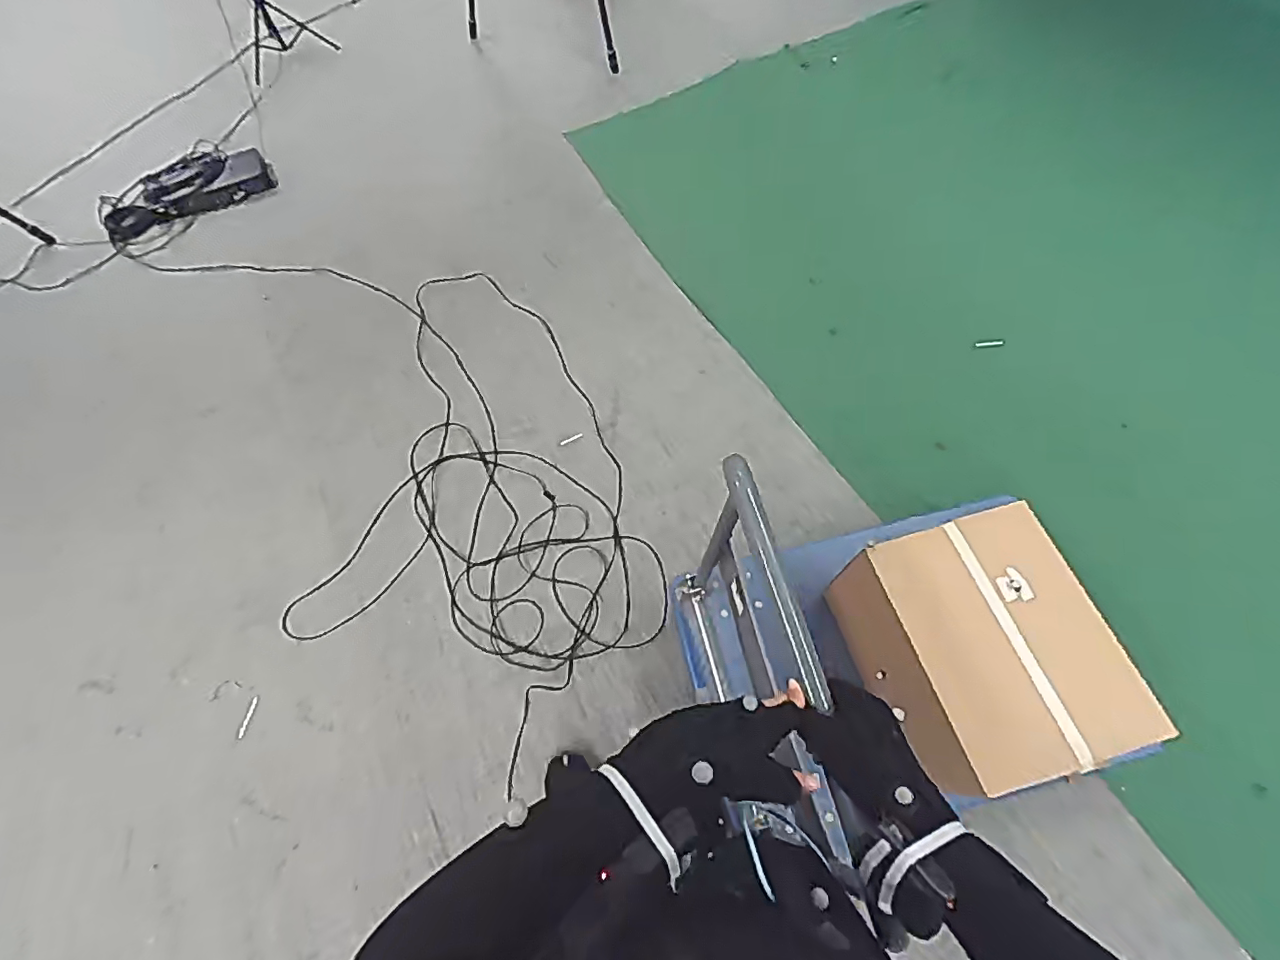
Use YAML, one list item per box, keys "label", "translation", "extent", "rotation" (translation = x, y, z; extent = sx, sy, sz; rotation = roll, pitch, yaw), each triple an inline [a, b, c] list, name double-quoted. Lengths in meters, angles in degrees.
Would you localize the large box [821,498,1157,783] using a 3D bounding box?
- label: "large box"
  translation: [0.600, 0.308, 1.031]
  extent: [0.320, 0.320, 0.408]
  rotation: [-15, 64, -4]
